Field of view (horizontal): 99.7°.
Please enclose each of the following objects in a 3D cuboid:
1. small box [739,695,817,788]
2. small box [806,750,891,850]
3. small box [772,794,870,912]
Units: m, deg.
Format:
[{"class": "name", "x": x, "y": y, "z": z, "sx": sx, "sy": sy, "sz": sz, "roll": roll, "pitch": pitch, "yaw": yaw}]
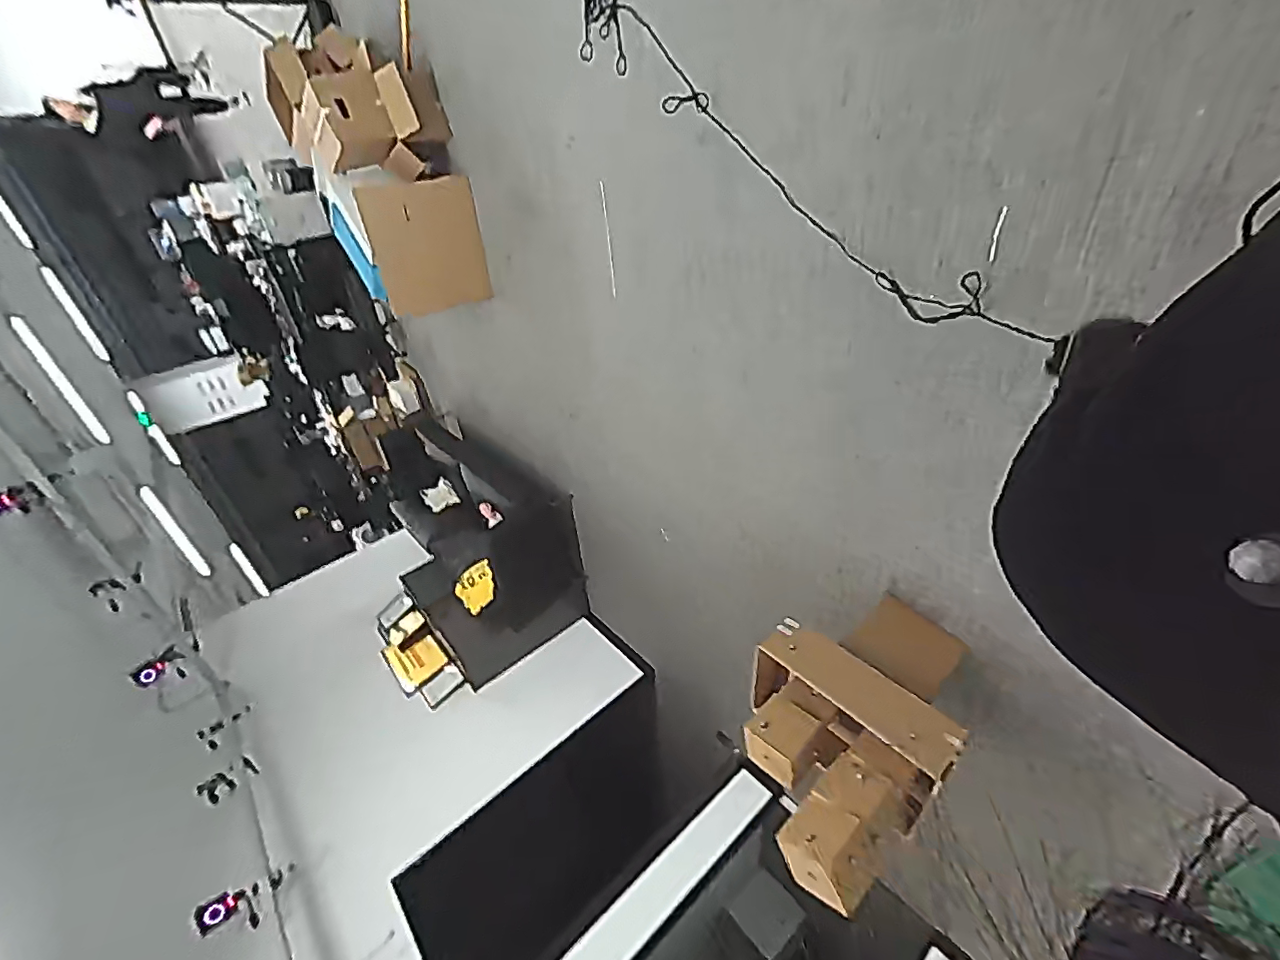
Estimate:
[{"class": "small box", "x": 0.440, "y": 0.819, "z": 1.718, "sx": 0.179, "sy": 0.176, "sz": 0.168, "roll": 22, "pitch": 134, "yaw": 44}, {"class": "small box", "x": 0.612, "y": 0.937, "z": 1.573, "sx": 0.168, "sy": 0.176, "sz": 0.179, "roll": 12, "pitch": 125, "yaw": 50}, {"class": "small box", "x": 0.499, "y": 1.003, "z": 1.474, "sx": 0.179, "sy": 0.176, "sz": 0.168, "roll": -8, "pitch": 108, "yaw": 57}]
